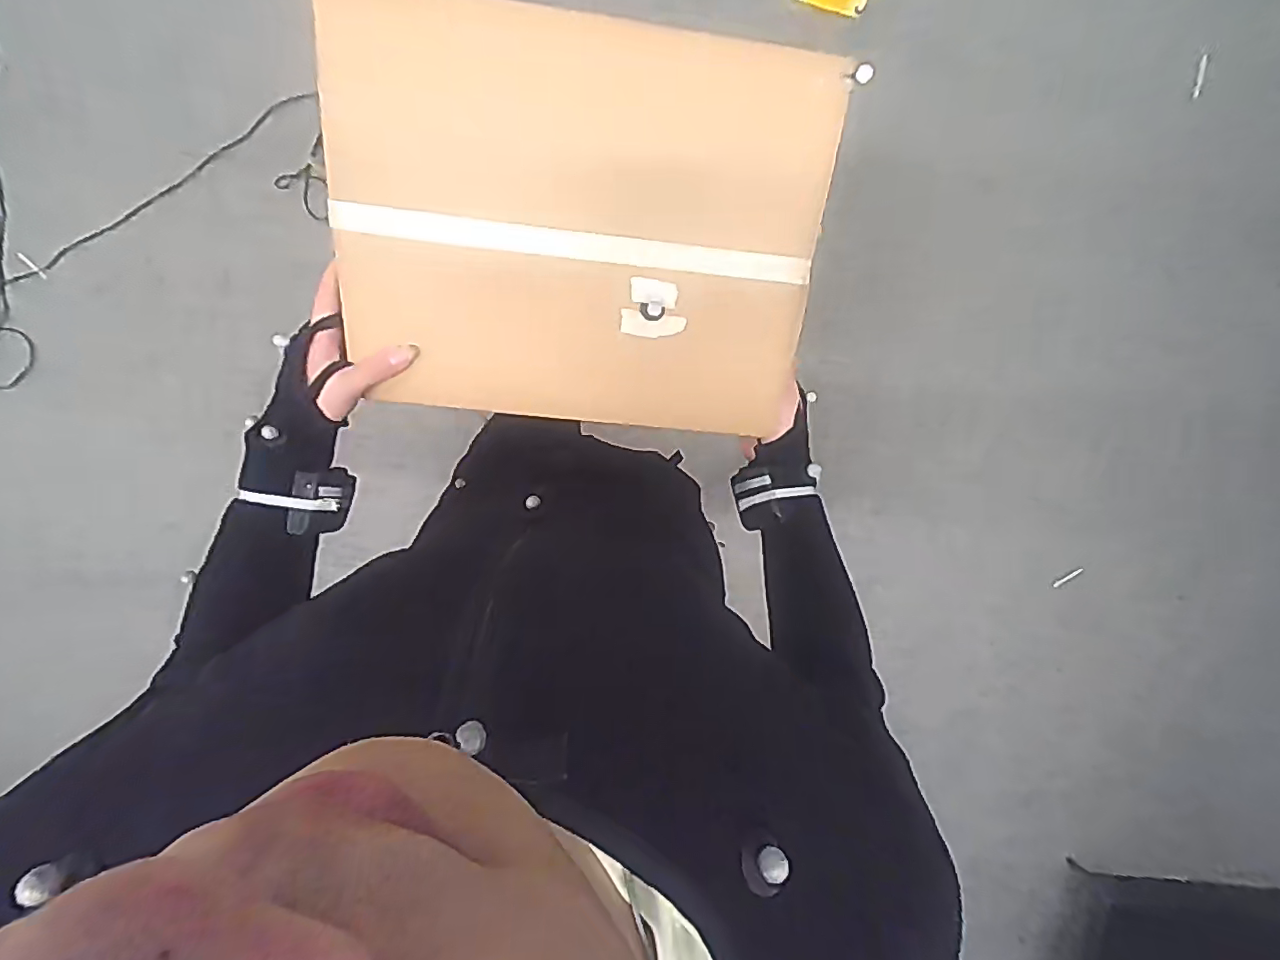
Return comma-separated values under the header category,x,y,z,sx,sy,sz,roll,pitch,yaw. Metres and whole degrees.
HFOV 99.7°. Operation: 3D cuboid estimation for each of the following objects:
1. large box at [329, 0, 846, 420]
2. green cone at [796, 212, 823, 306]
category,x,y,z,sx,sy,sz,roll,pitch,yaw
large box,-0.058,-0.271,0.605,0.408,0.320,0.320,5,114,-6
green cone,0.377,-0.578,1.345,0.200,0.368,0.202,12,98,-2
